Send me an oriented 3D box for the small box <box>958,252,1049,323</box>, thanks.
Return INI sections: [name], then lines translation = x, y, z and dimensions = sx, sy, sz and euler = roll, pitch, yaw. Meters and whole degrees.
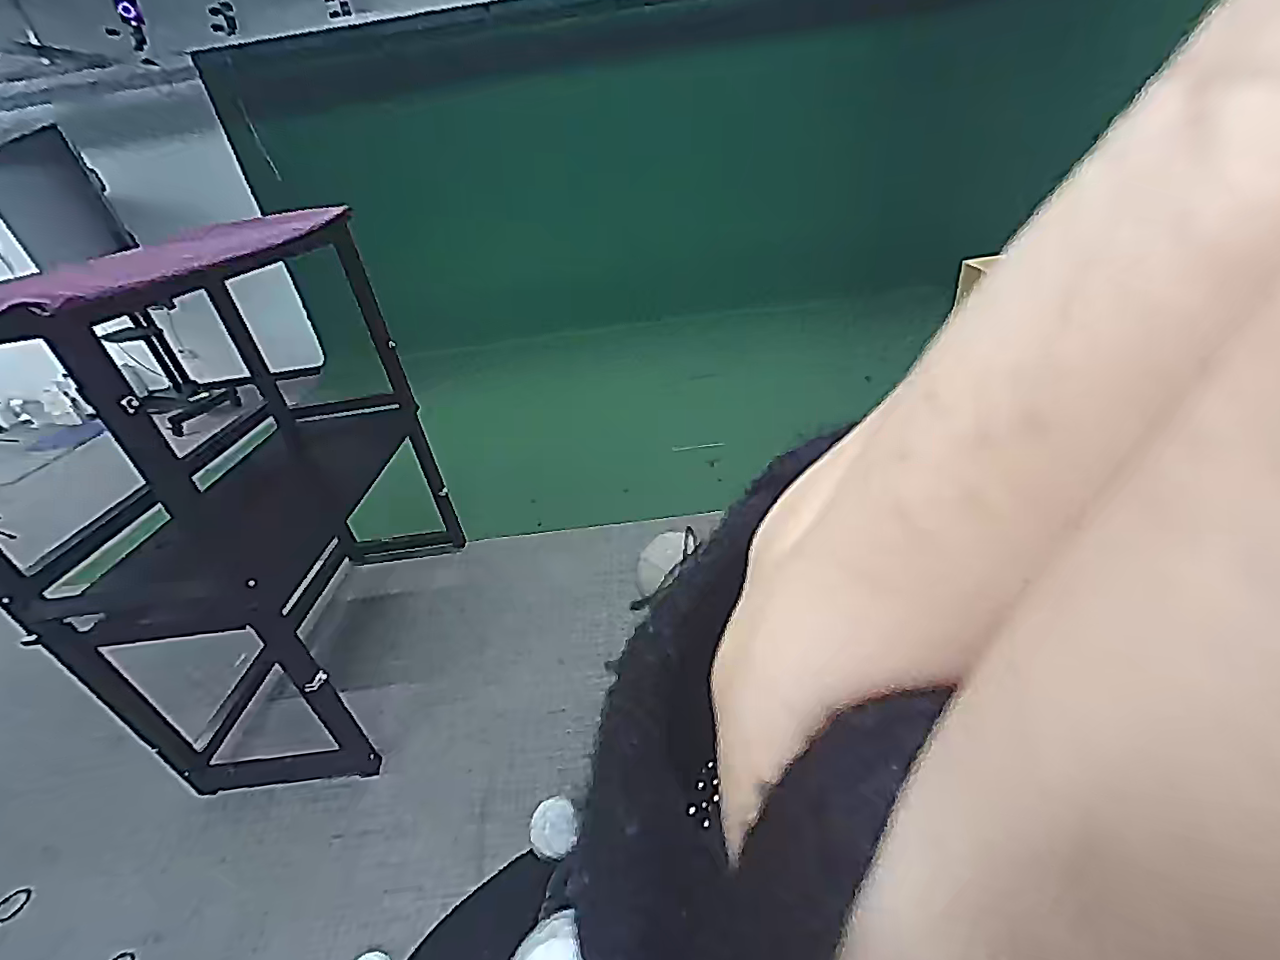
[small box]
translation = 1.132, -0.603, 1.704
dimensions = 0.179, 0.176, 0.168
euler = -6, 34, 4
